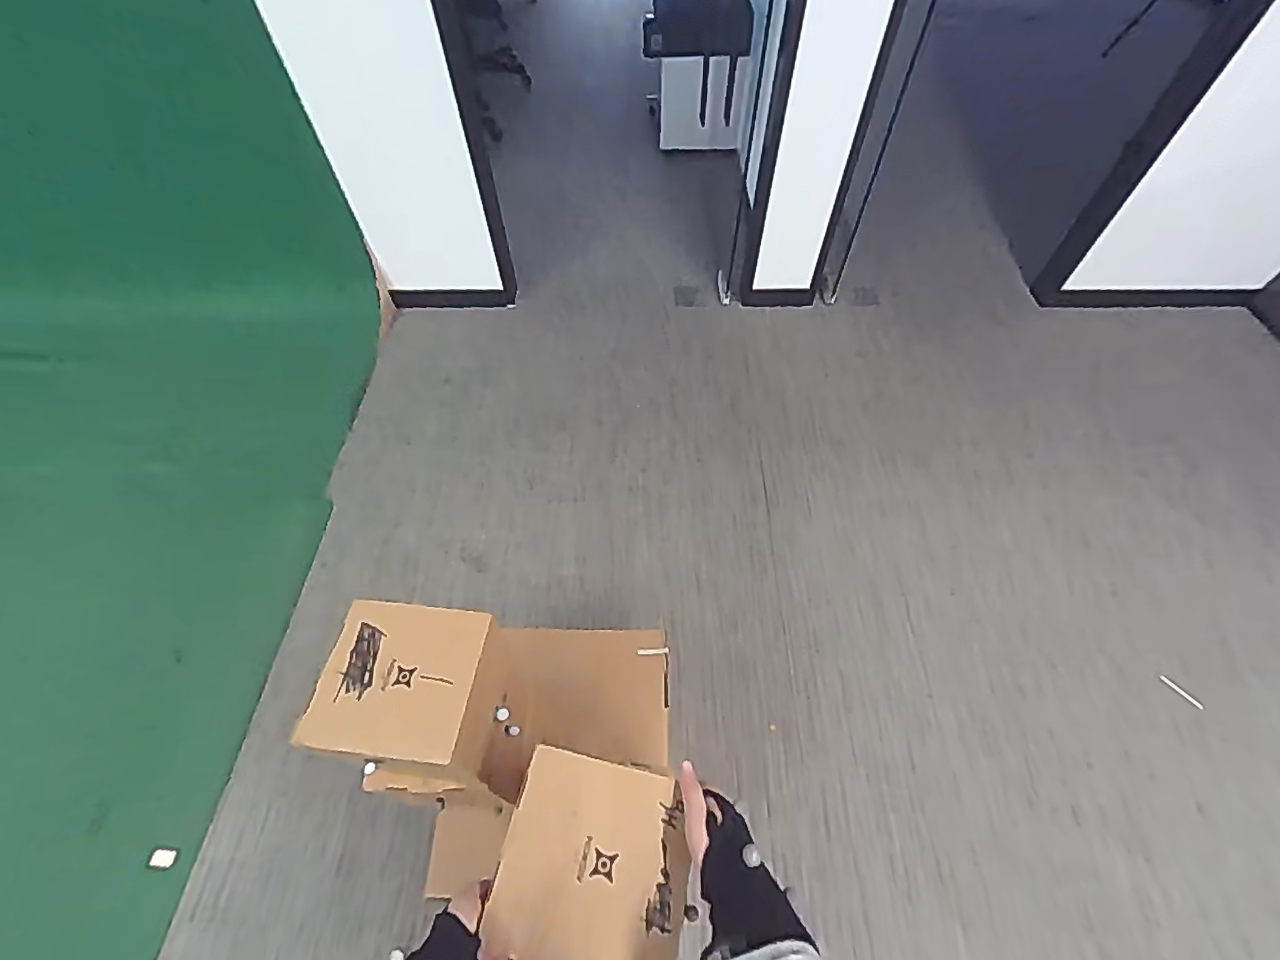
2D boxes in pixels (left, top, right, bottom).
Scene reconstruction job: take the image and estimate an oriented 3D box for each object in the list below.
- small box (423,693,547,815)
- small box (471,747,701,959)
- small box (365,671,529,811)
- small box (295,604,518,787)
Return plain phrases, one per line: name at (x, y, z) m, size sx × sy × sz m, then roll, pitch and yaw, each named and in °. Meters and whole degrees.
small box at (-0.261, 0.471, 0.930) m, size 0.179 × 0.176 × 0.168 m, roll 0°, pitch 53°, yaw 1°
small box at (-0.042, 0.400, 0.562) m, size 0.179 × 0.176 × 0.168 m, roll 11°, pitch 57°, yaw 9°
small box at (-0.267, 0.375, 0.798) m, size 0.168 × 0.176 × 0.179 m, roll 1°, pitch 54°, yaw 2°
small box at (-0.268, 0.271, 0.671) m, size 0.179 × 0.176 × 0.168 m, roll 5°, pitch 54°, yaw 4°
